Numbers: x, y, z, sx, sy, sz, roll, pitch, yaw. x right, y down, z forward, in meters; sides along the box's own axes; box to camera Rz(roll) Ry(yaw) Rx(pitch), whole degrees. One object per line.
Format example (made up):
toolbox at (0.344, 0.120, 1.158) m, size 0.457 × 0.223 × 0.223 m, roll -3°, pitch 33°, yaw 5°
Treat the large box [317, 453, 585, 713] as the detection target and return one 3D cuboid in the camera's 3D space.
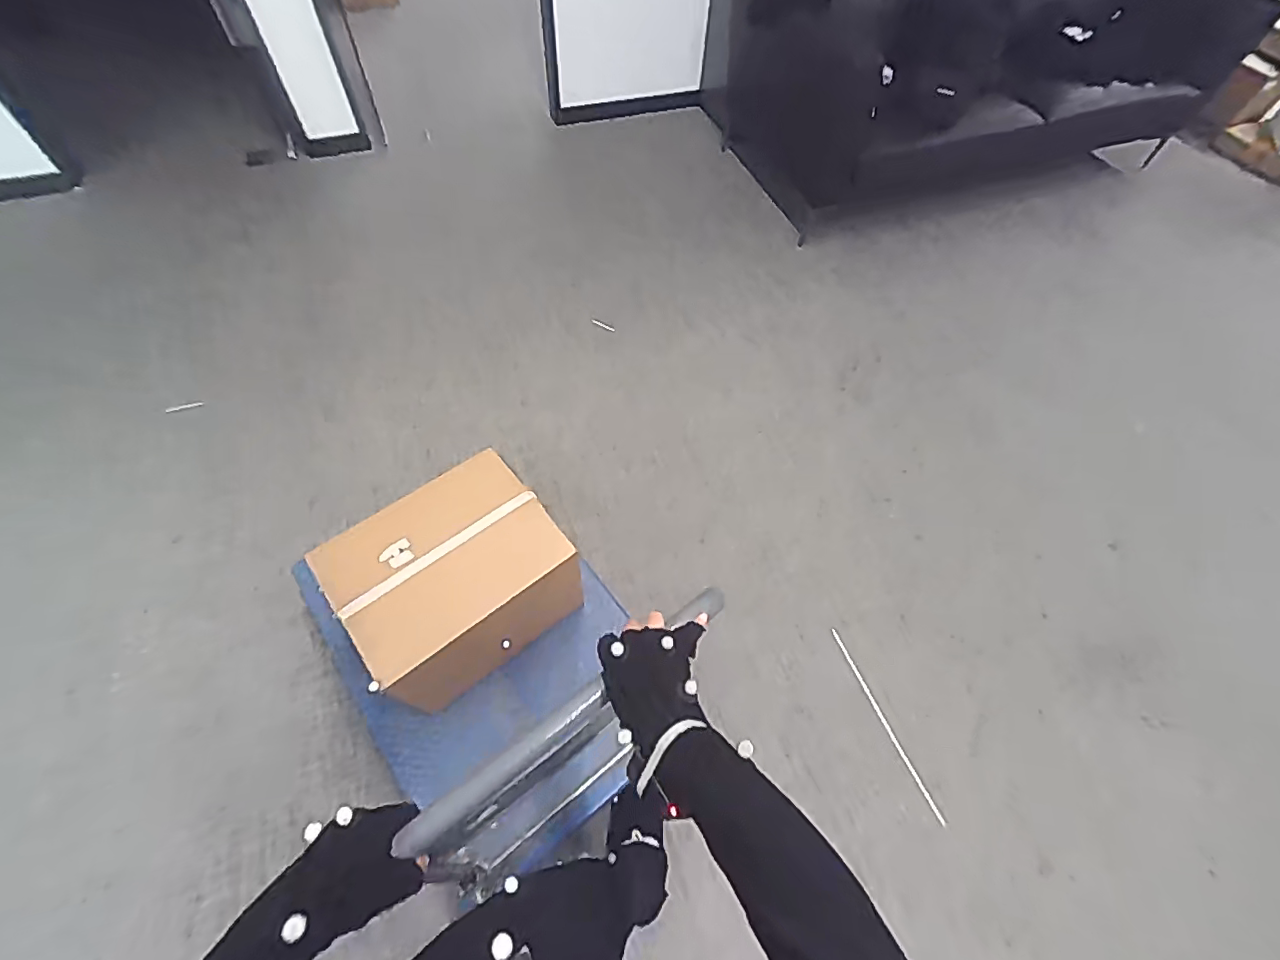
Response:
large box at (-0.367, 0.223, 1.156) m, size 0.408 × 0.320 × 0.320 m, roll -35°, pitch 66°, yaw -21°
